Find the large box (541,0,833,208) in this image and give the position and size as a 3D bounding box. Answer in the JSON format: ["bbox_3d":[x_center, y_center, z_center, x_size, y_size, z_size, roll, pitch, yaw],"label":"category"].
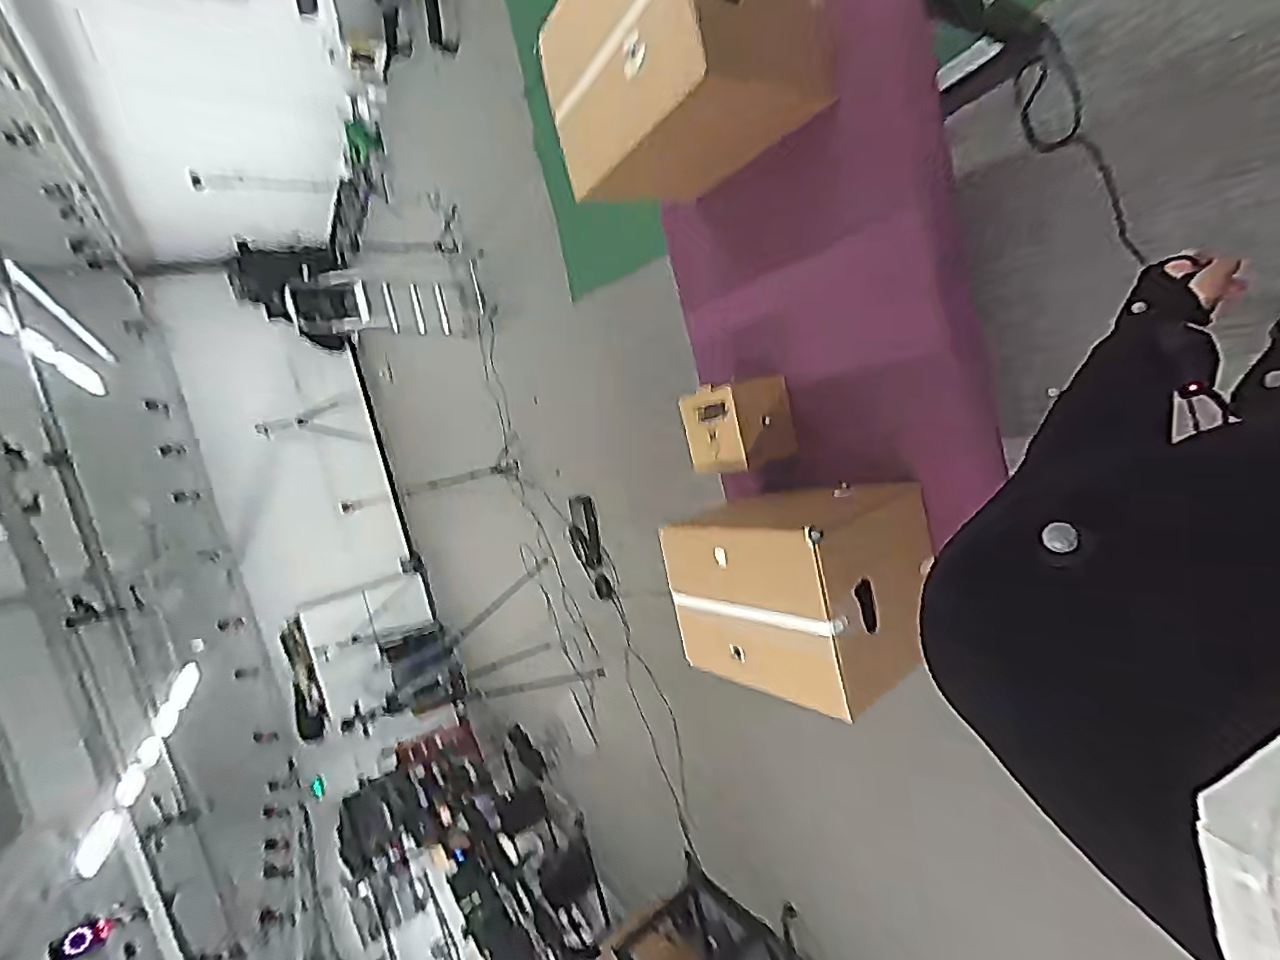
[{"bbox_3d":[0.070,-0.742,0.985,0.408,0.320,0.320,-4,103,56],"label":"large box"}]
